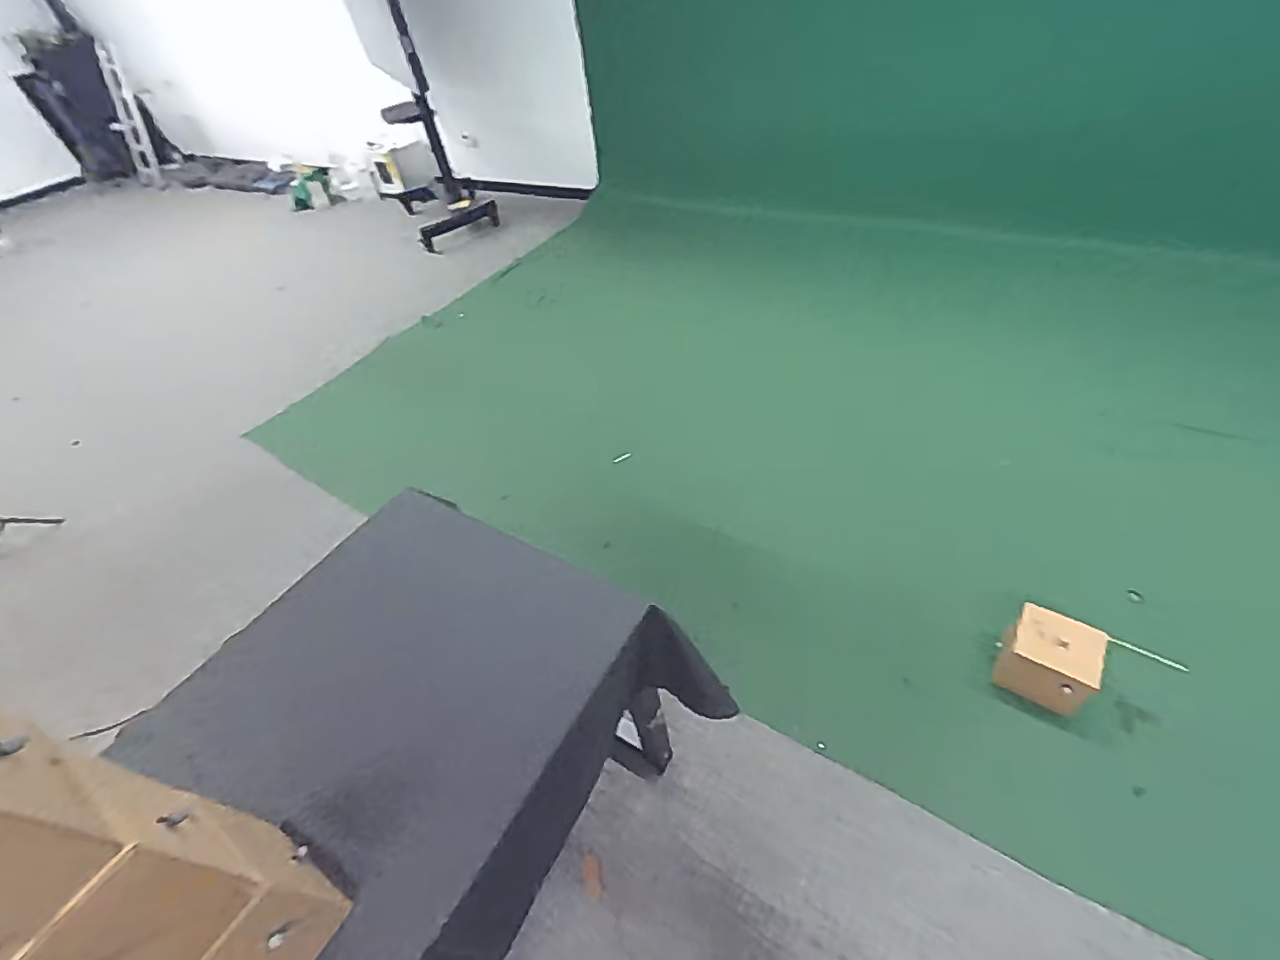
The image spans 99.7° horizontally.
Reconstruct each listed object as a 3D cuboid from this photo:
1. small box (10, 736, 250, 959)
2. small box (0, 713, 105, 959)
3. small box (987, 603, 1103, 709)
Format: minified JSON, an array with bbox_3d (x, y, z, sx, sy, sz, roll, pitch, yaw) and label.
[{"bbox_3d":[-0.480,0.362,0.457,0.168,0.176,0.179,19,52,25],"label":"small box"},{"bbox_3d":[-0.506,0.249,0.342,0.168,0.176,0.179,20,52,27],"label":"small box"},{"bbox_3d":[1.020,0.451,1.368,0.179,0.176,0.168,23,53,29],"label":"small box"}]
